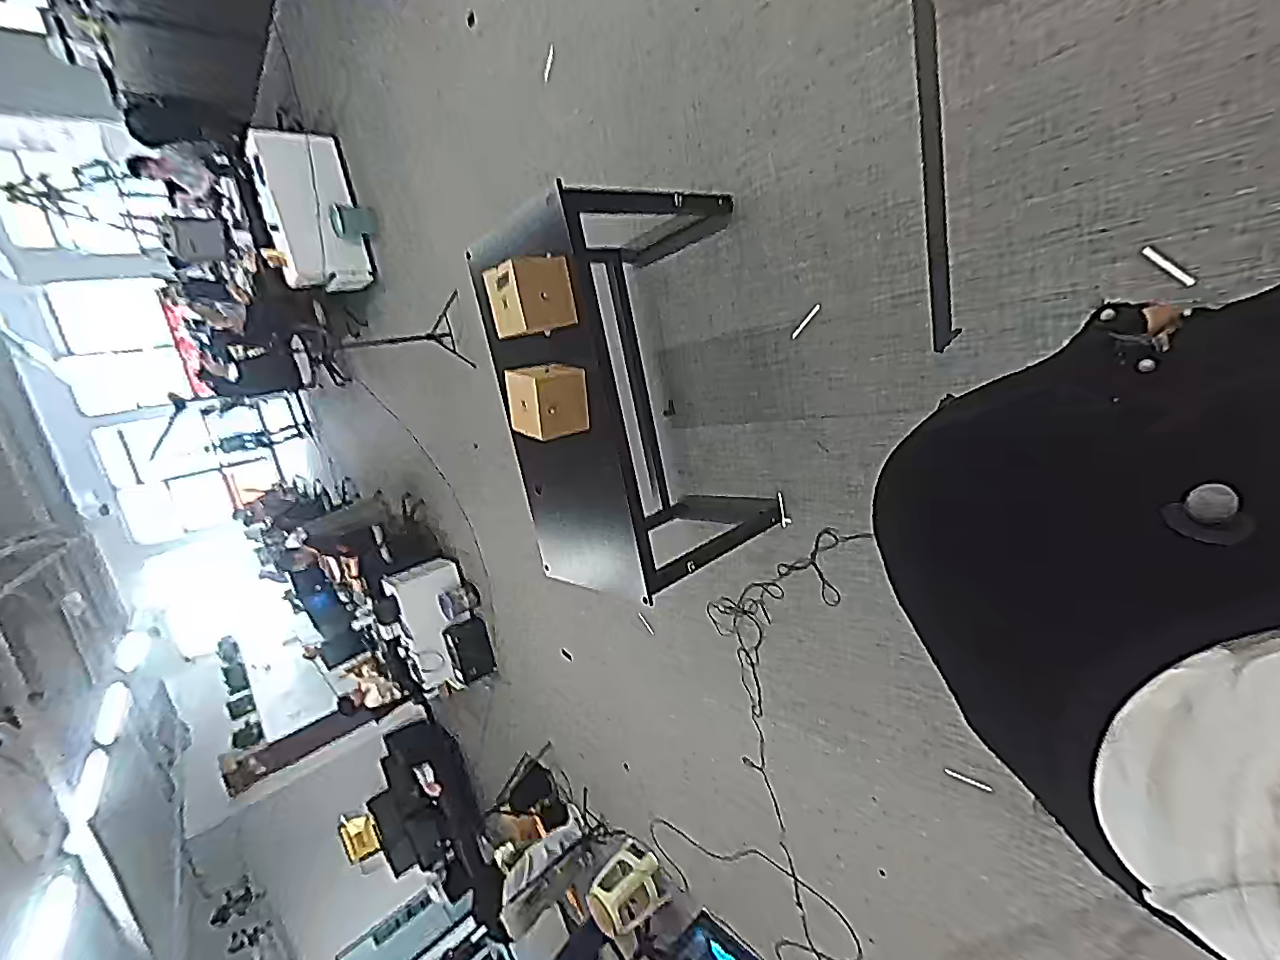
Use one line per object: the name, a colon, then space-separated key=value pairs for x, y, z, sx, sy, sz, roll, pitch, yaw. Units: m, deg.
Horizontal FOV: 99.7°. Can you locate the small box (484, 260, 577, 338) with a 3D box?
small box: x=-0.296 y=-0.495 z=1.474 sx=0.168 sy=0.176 sz=0.179 roll=6 pitch=113 yaw=50

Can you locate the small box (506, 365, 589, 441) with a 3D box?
small box: x=-0.264 y=-0.230 z=1.563 sx=0.168 sy=0.176 sz=0.179 roll=21 pitch=123 yaw=45
